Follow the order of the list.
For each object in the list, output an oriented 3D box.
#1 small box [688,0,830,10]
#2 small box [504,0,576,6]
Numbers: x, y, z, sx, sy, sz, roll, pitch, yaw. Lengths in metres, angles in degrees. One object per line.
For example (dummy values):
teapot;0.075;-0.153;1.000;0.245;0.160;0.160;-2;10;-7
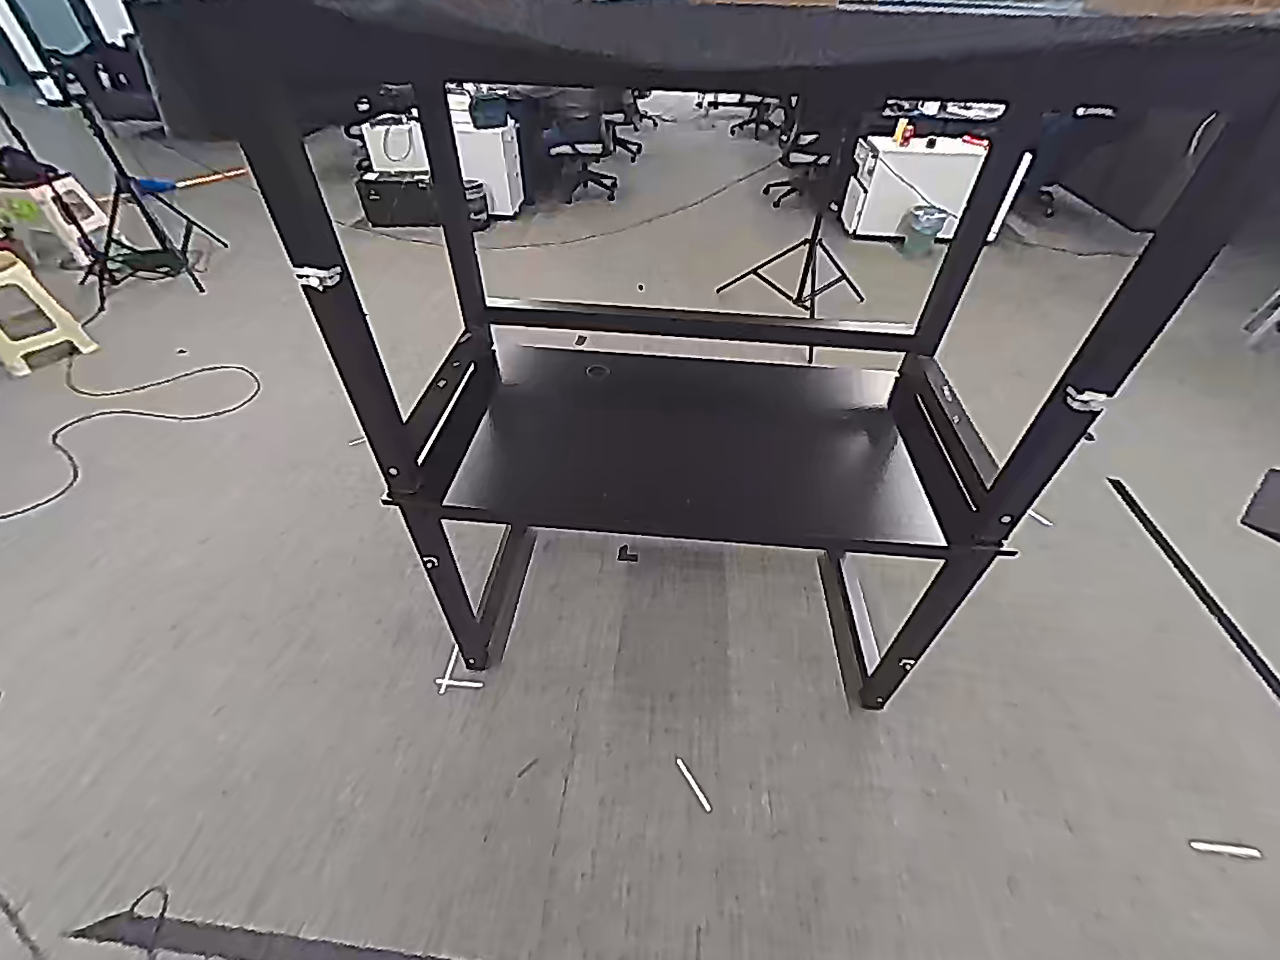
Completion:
small box;0.139;-0.633;0.596;0.168;0.176;0.179;4;42;2
small box;-0.147;-0.638;0.592;0.168;0.176;0.179;-2;43;-3
